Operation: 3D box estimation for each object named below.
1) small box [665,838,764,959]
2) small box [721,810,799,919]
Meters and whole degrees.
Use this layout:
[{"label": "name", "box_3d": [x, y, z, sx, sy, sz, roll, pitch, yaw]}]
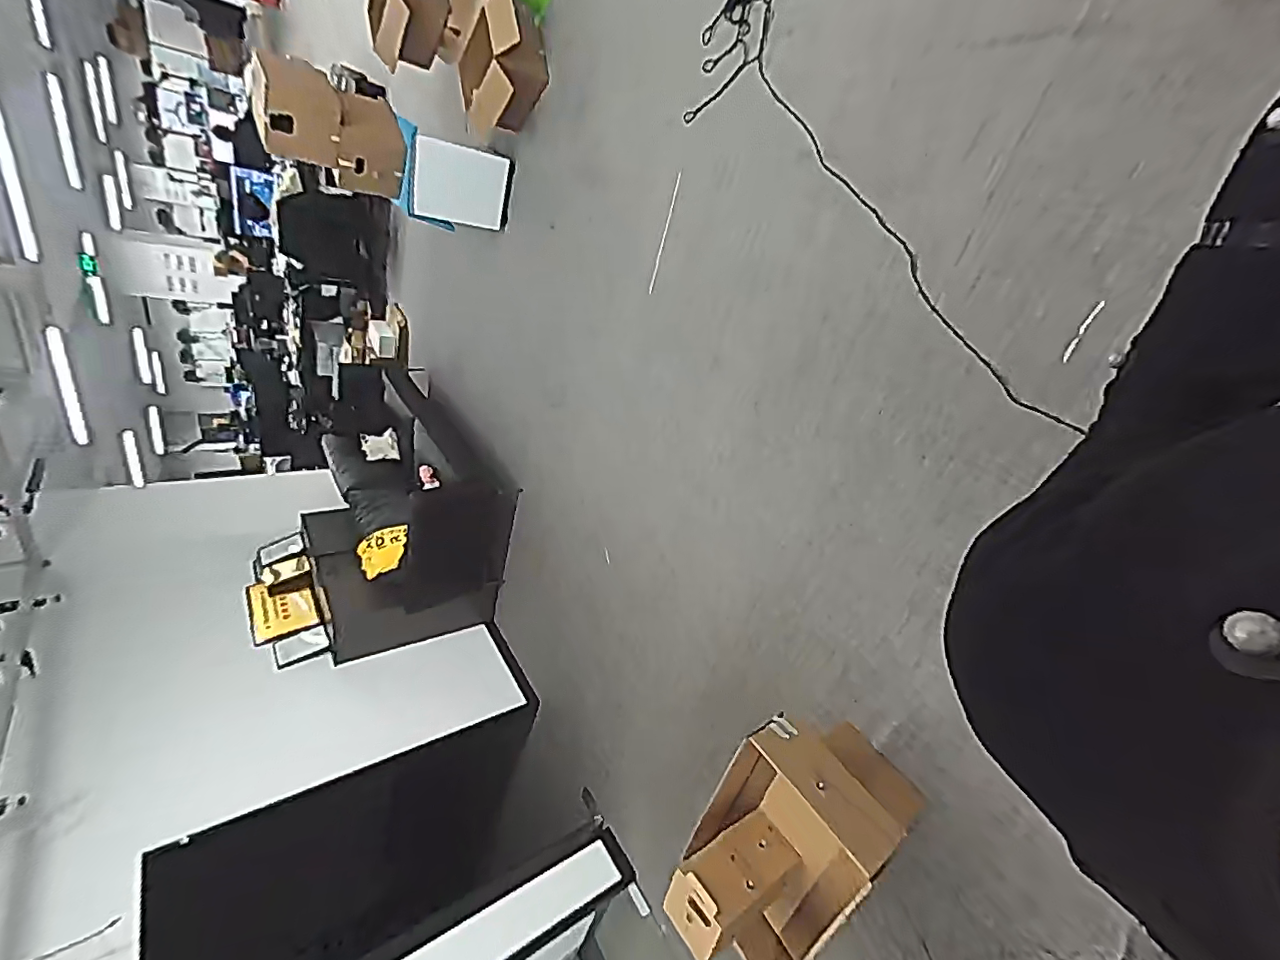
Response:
[{"label": "small box", "box_3d": [0.195, 1.080, 1.398, 0.168, 0.176, 0.179, 36, 121, 43]}, {"label": "small box", "box_3d": [0.316, 1.071, 1.509, 0.168, 0.176, 0.179, 38, 121, 43]}]
